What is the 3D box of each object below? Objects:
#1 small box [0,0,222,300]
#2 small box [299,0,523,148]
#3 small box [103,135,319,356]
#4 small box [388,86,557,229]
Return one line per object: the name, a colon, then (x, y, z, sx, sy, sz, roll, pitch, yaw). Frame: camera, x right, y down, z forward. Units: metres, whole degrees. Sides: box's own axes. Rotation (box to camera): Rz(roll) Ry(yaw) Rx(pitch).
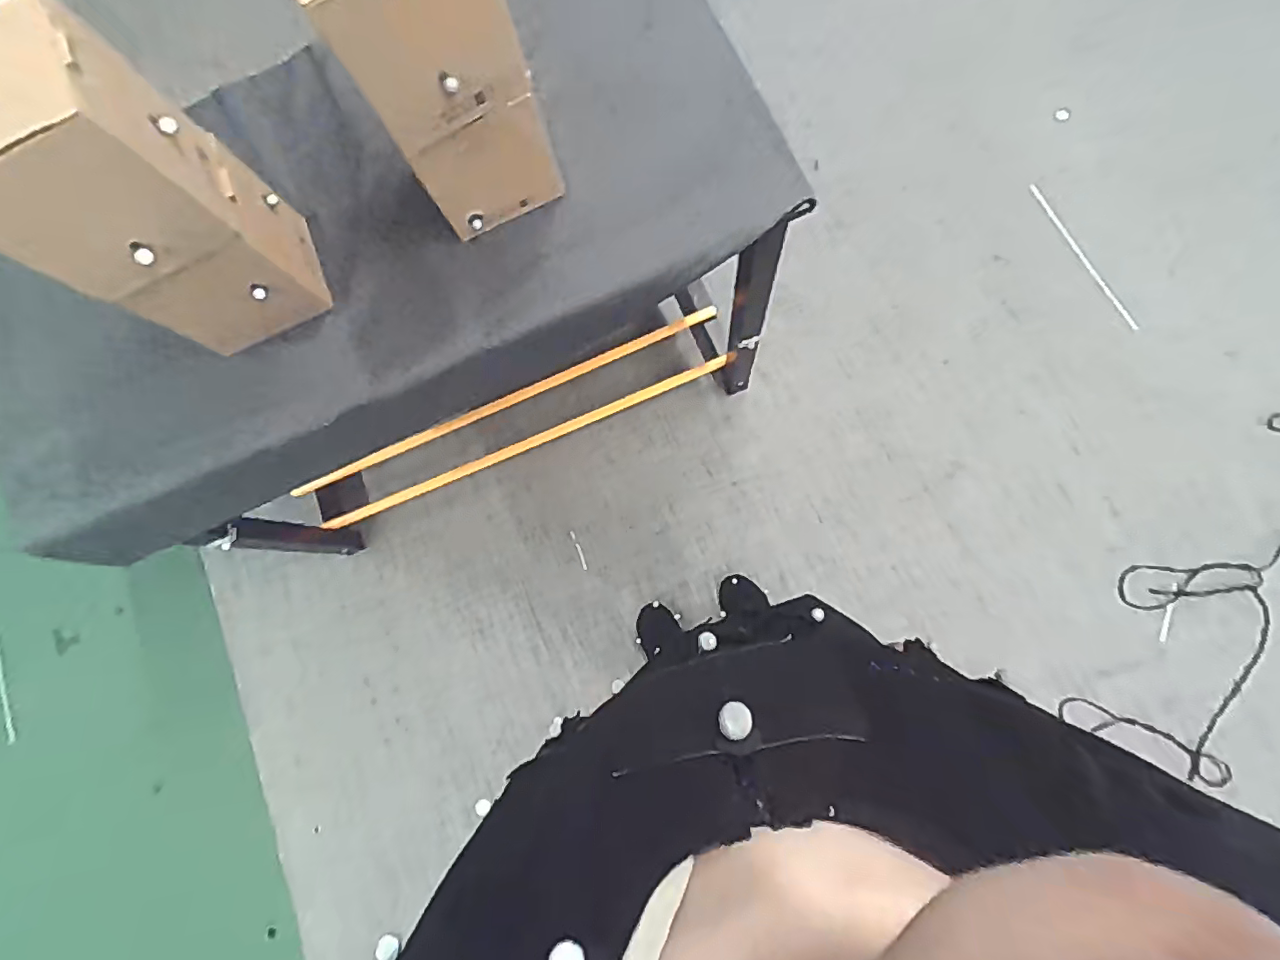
small box: (-0.574, -0.322, 0.550, 0.179, 0.176, 0.168, -27, 76, -1)
small box: (-0.245, -0.492, 0.549, 0.168, 0.176, 0.179, -30, 78, 0)
small box: (-0.560, -0.294, 0.712, 0.179, 0.176, 0.168, -25, 76, 1)
small box: (-0.226, -0.464, 0.710, 0.168, 0.176, 0.179, -25, 77, 0)
